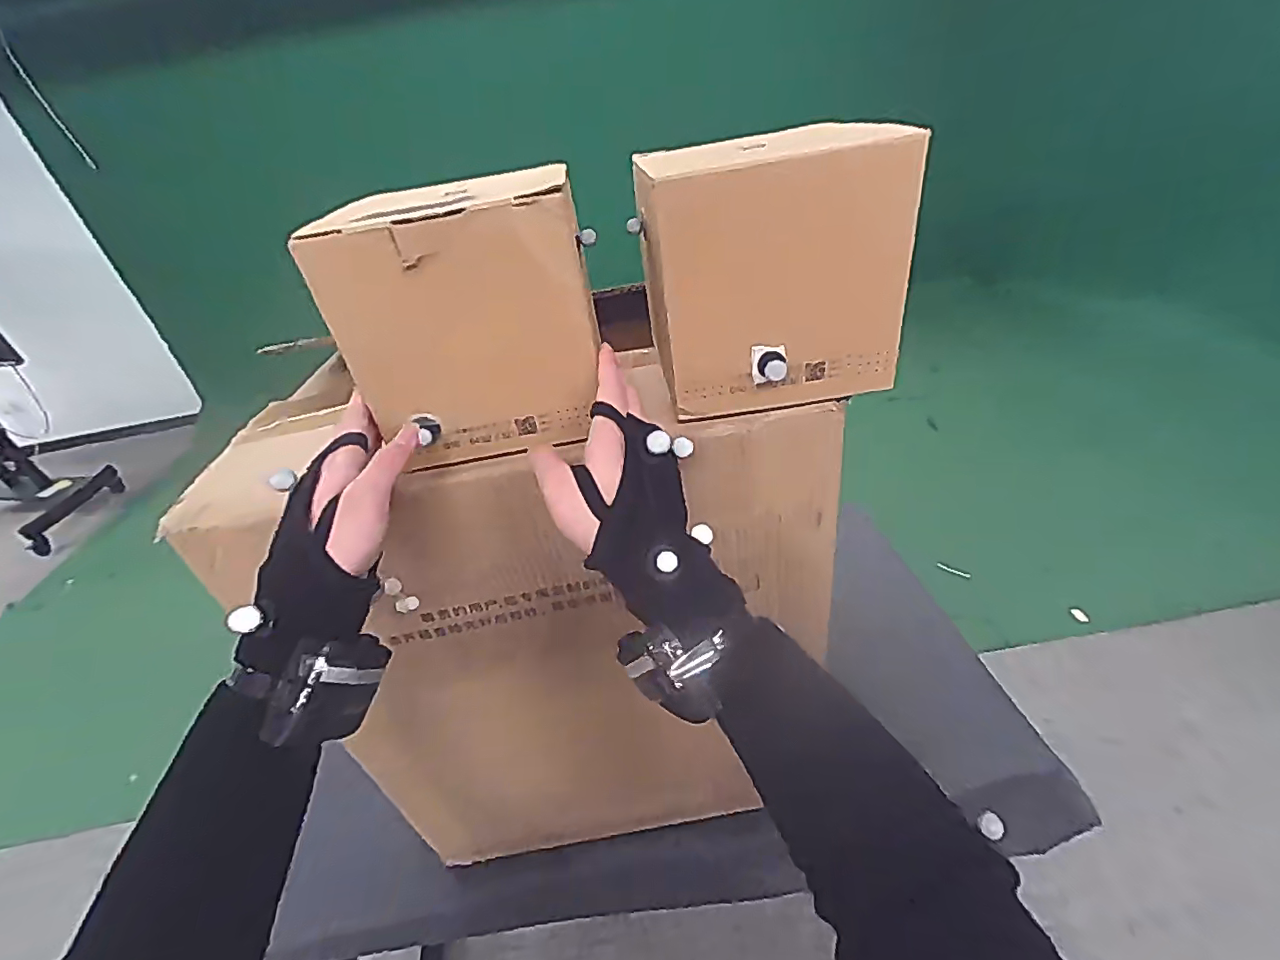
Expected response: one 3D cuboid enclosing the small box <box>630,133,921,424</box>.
[{"bbox_3d":[0.090,-0.166,0.435,0.168,0.176,0.179,-12,35,-1],"label":"small box"}]
